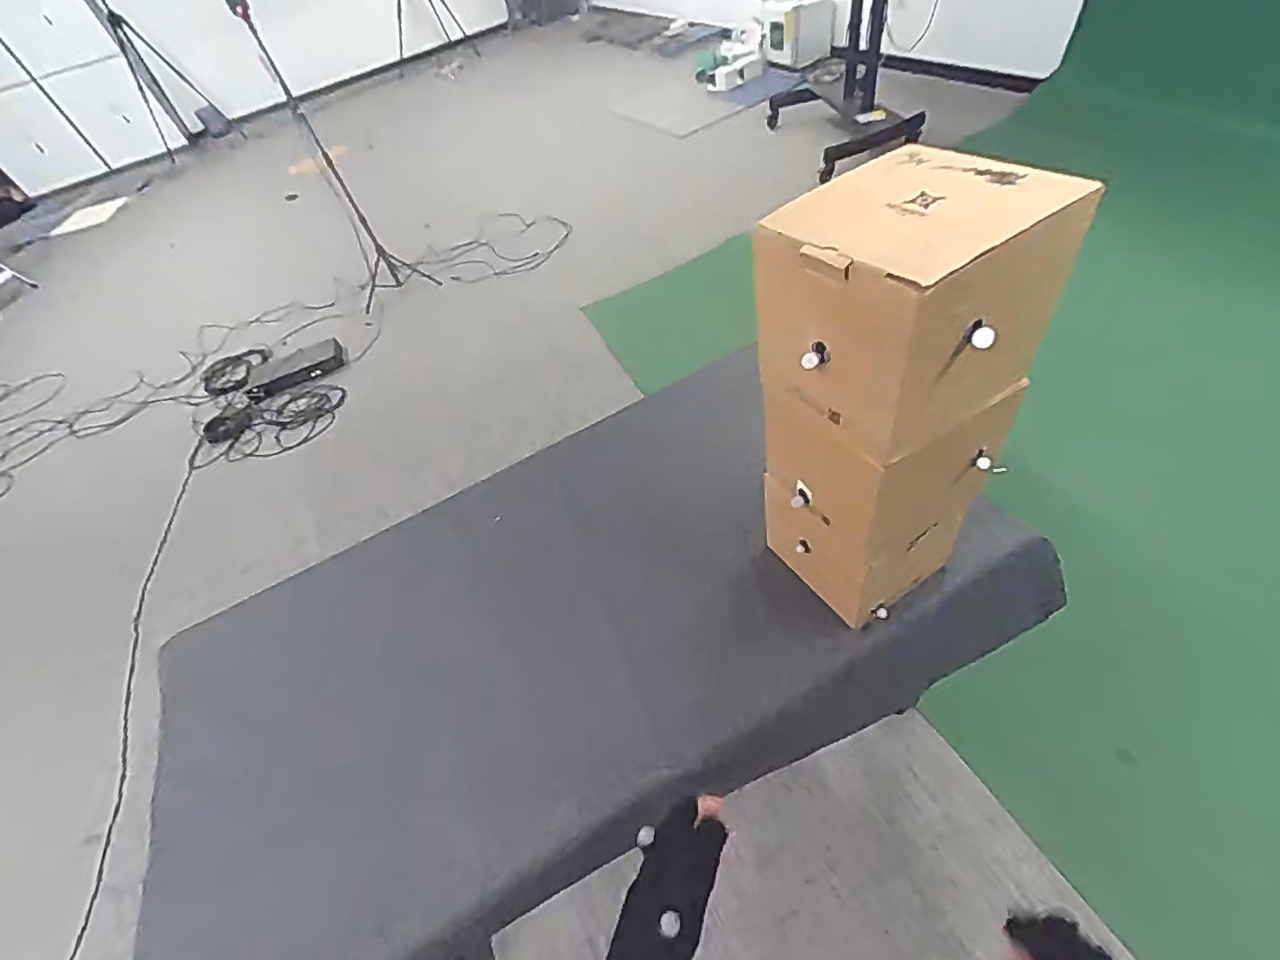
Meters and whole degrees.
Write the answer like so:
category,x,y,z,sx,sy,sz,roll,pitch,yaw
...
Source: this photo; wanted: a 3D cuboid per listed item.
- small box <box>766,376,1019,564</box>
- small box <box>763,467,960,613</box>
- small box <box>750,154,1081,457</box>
category,x,y,z,sx,sy,sz,roll,pitch,yaw
small box,0.258,-0.044,0.594,0.179,0.176,0.168,-31,48,-10
small box,0.286,0.053,0.721,0.168,0.176,0.179,-31,49,-12
small box,0.221,-0.151,0.476,0.179,0.176,0.168,-31,49,-12
